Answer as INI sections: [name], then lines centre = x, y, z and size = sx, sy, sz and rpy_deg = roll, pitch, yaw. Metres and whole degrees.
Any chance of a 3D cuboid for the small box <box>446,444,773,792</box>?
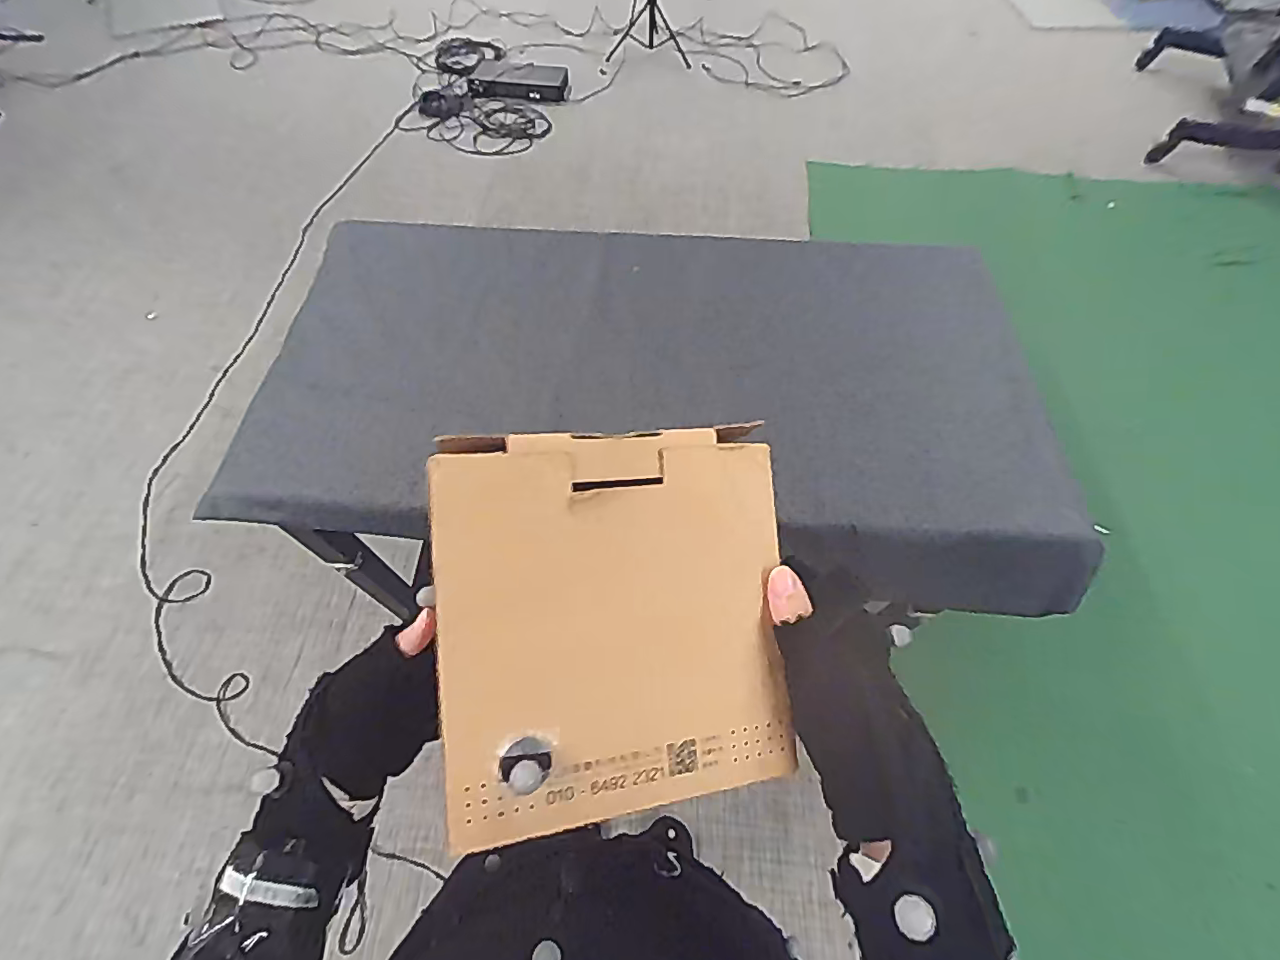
[small box]
centre = -0.031, 0.075, 0.346
size = 0.168, 0.179, 0.176
rpy_deg = -2, 85, -19
